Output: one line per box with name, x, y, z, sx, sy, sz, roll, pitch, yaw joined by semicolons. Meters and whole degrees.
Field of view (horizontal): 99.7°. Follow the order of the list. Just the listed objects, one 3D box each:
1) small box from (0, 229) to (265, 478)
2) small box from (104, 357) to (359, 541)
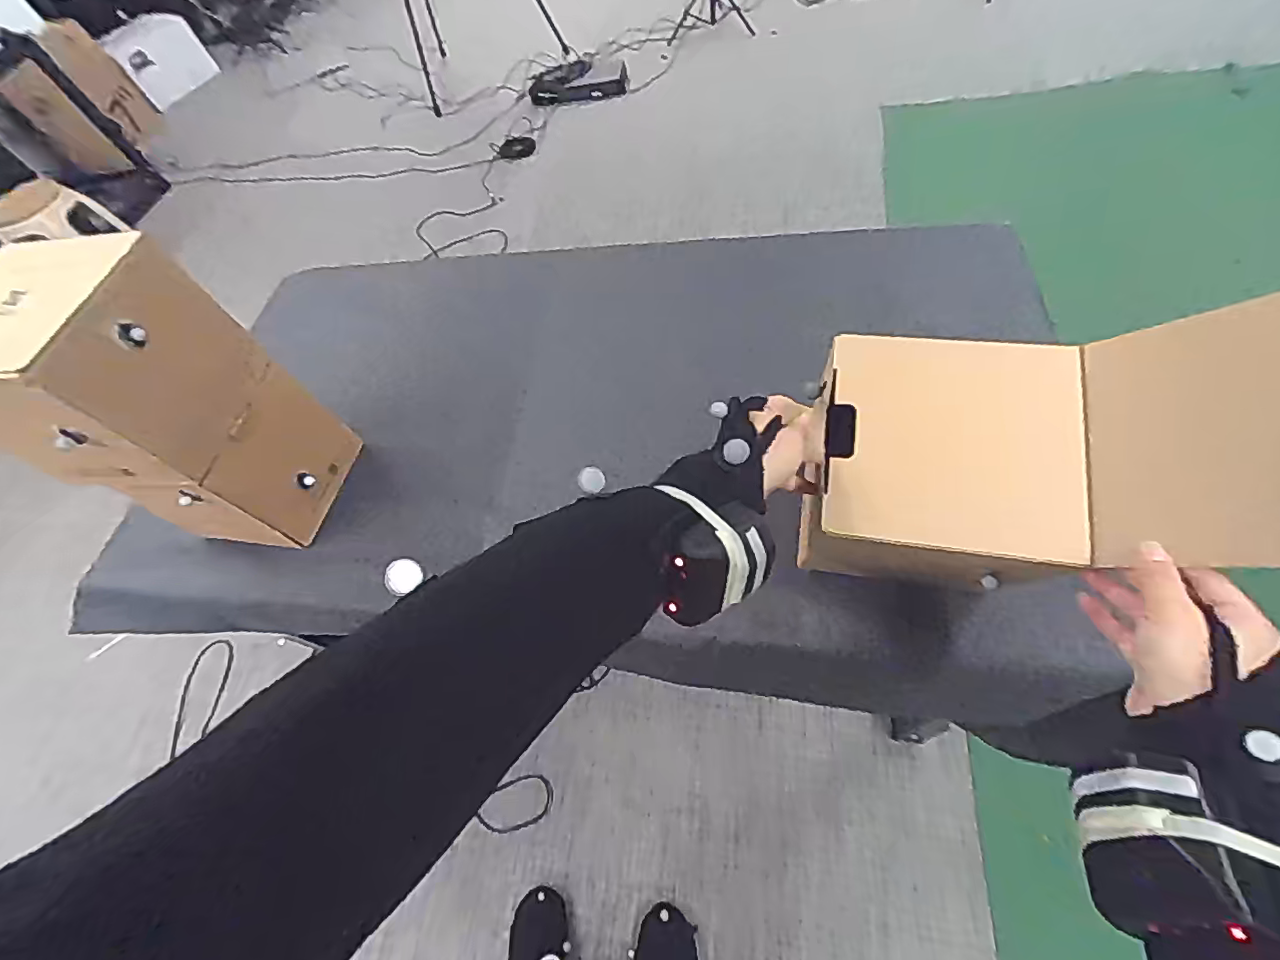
small box;-0.524;-0.114;0.533;0.168;0.176;0.179;0;58;10
small box;-0.501;-0.036;0.673;0.179;0.176;0.168;4;60;14
